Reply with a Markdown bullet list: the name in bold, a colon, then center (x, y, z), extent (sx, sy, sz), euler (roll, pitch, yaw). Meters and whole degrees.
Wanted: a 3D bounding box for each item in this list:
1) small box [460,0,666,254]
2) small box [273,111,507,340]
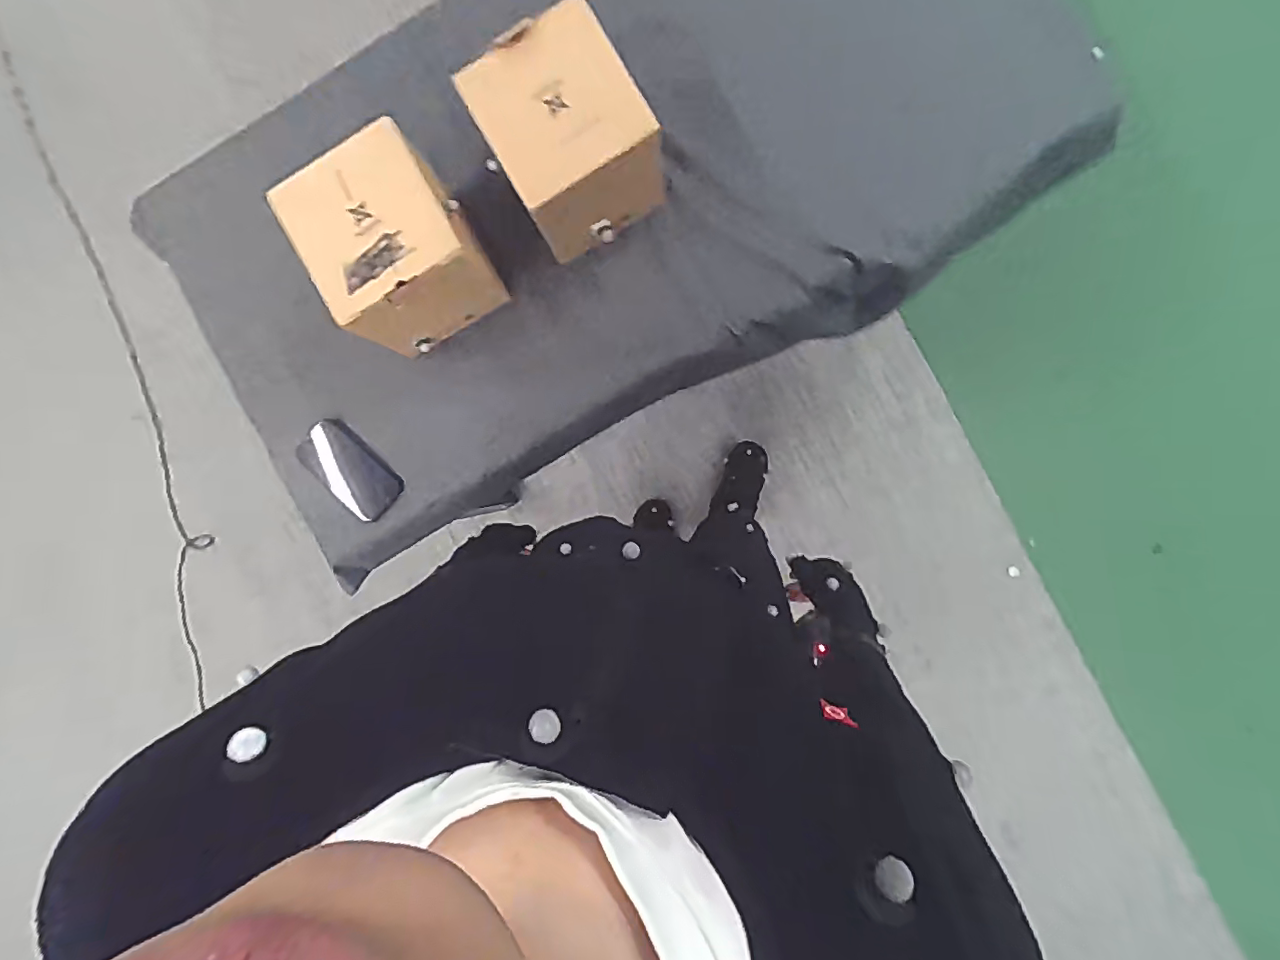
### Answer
- **small box**: center (-0.080, -0.417, 0.661), extent (0.168, 0.176, 0.179), euler (-32, 90, 6)
- **small box**: center (-0.294, -0.294, 0.677), extent (0.168, 0.176, 0.179), euler (-30, 88, 4)
